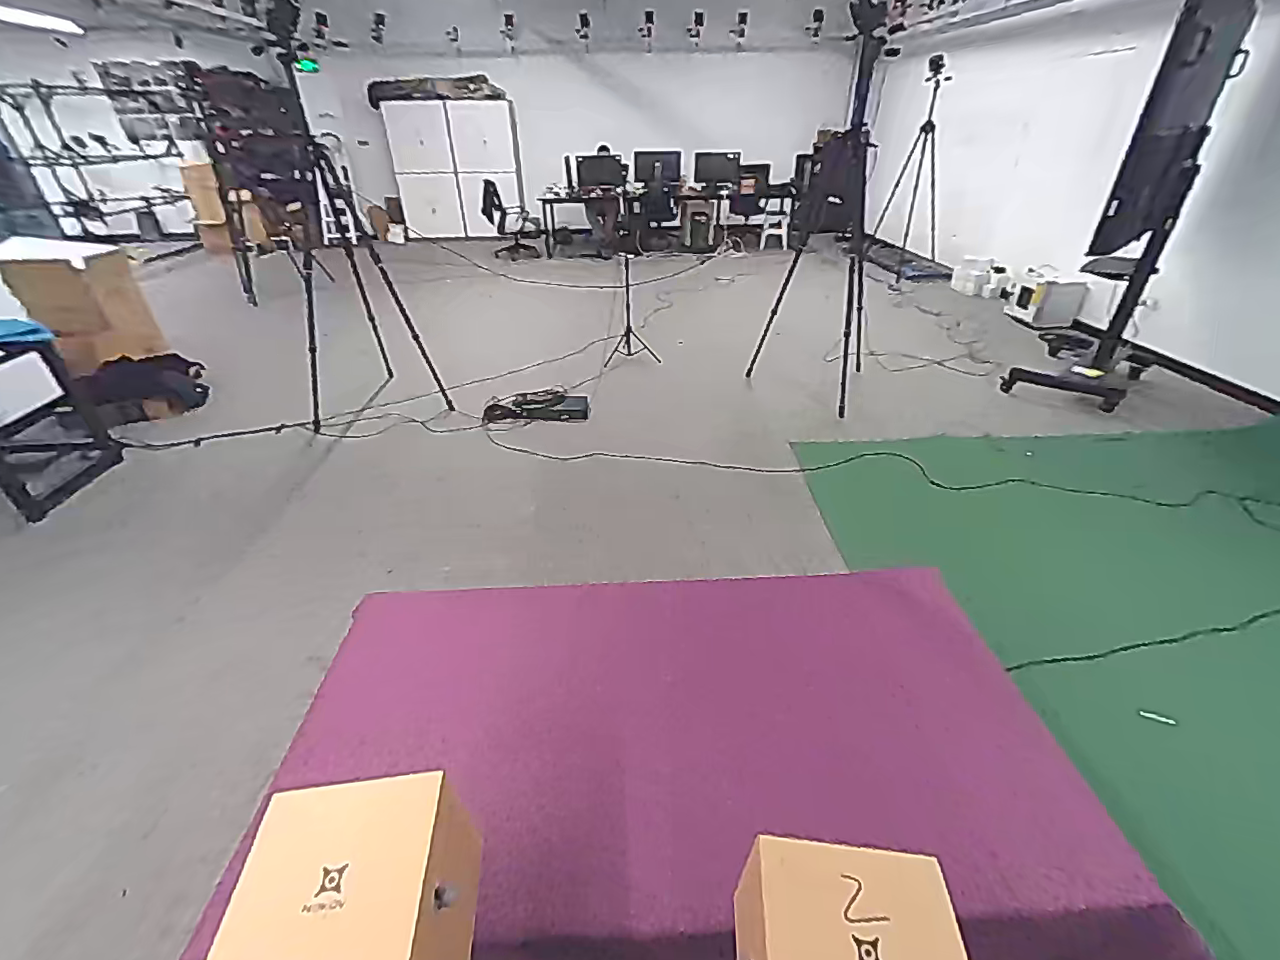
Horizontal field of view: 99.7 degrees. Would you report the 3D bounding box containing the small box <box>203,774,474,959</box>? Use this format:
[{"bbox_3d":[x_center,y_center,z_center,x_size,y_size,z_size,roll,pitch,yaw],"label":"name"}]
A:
[{"bbox_3d":[-0.262,0.411,0.507,0.168,0.176,0.179,-6,38,-4],"label":"small box"}]
